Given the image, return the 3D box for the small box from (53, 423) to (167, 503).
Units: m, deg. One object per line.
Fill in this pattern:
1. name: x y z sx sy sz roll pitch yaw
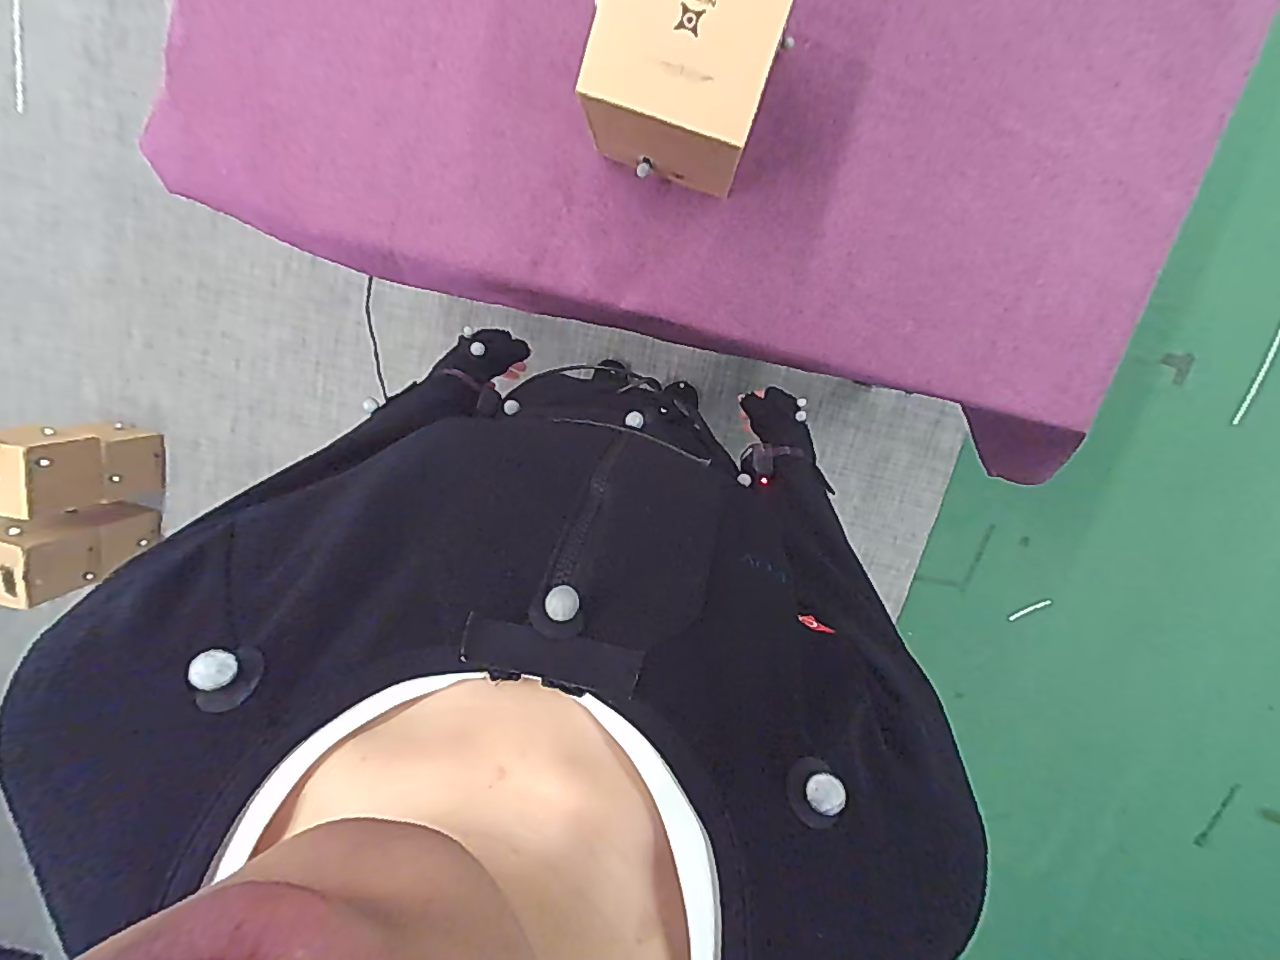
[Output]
1. small box: -1.429 -0.053 1.450 0.179 0.176 0.168 11 104 0

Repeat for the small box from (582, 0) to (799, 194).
1. small box: 0.053 -0.428 0.552 0.168 0.176 0.179 19 104 -1

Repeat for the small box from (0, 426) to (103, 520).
1. small box: -1.440 -0.022 1.289 0.168 0.176 0.179 10 103 0
